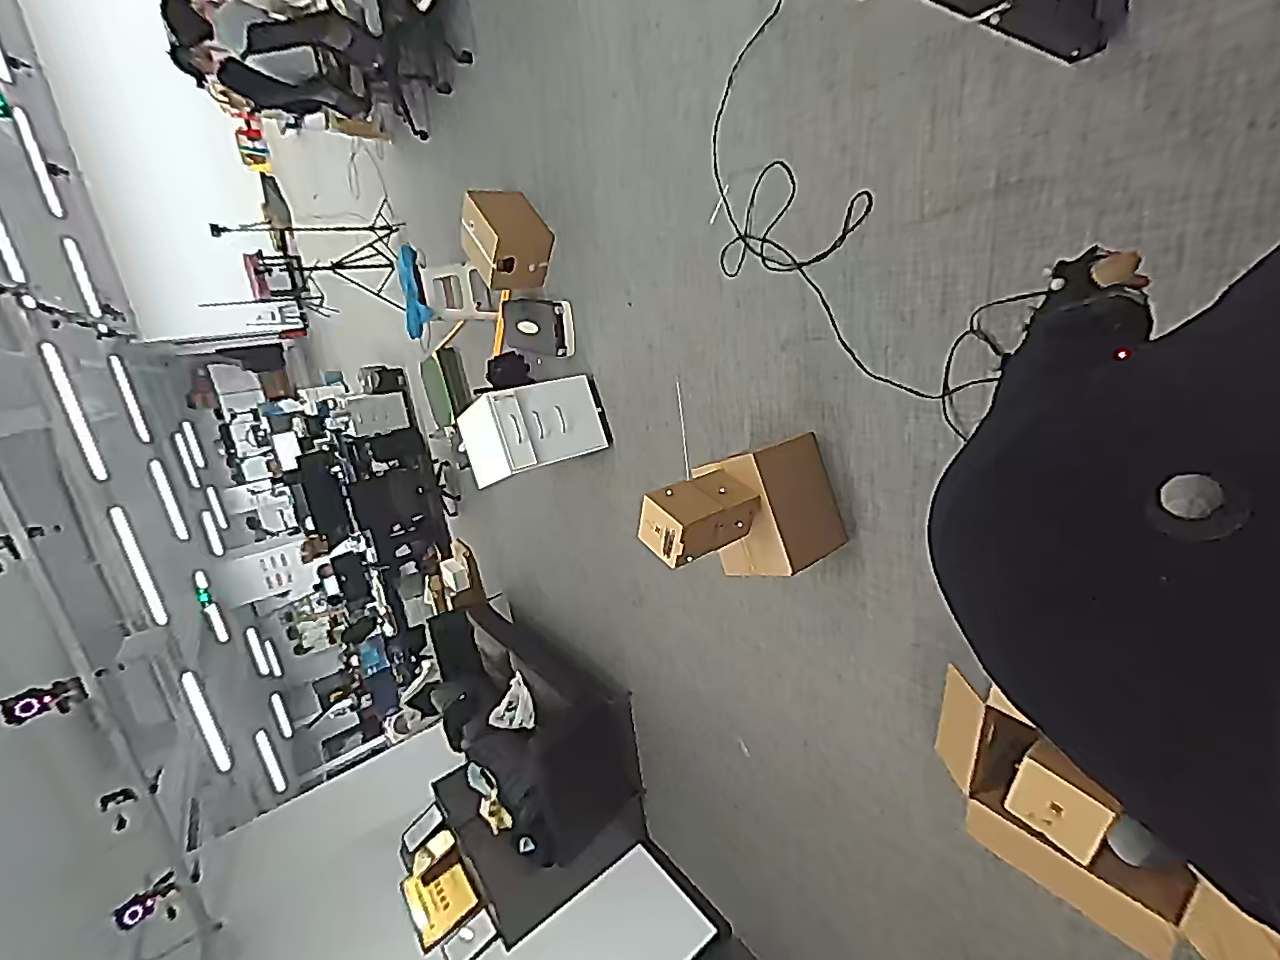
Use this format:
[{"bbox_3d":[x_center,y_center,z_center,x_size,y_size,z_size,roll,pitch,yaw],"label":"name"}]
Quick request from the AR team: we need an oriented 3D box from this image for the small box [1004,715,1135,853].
[{"bbox_3d":[0.969,0.673,1.220,0.168,0.176,0.179,30,129,48],"label":"small box"}]

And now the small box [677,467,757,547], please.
[{"bbox_3d":[0.246,0.078,1.730,0.179,0.176,0.168,37,133,36],"label":"small box"}]
